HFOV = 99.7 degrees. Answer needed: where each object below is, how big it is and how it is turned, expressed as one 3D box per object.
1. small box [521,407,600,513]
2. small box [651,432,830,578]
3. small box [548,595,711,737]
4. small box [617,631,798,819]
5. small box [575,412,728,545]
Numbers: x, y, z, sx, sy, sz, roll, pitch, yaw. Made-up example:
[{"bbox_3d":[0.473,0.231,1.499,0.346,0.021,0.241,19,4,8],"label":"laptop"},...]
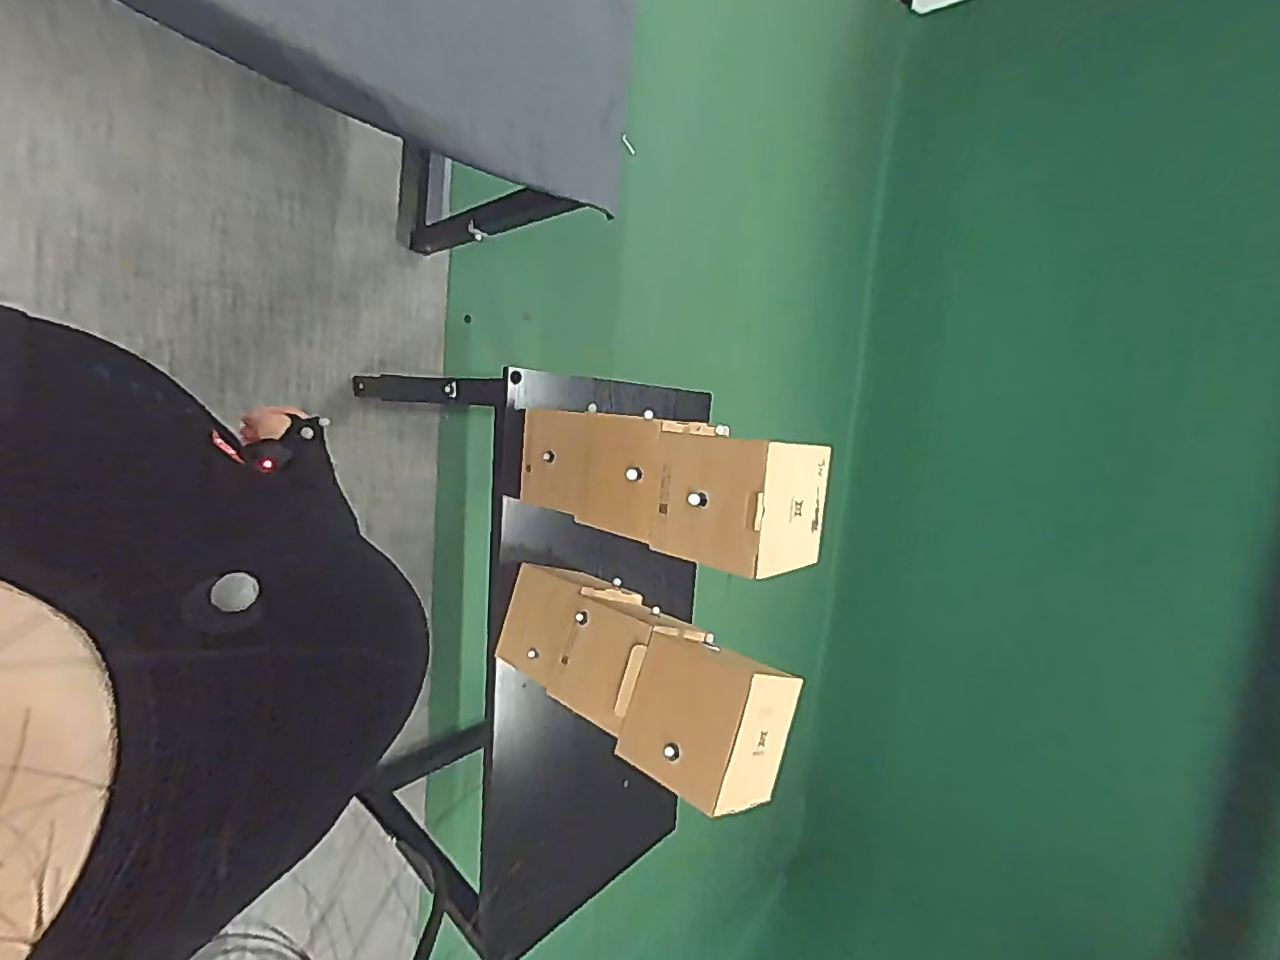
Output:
[{"bbox_3d":[-0.093,-0.039,0.962,0.179,0.176,0.168,-2,101,-48],"label":"small box"},{"bbox_3d":[0.133,0.025,0.734,0.179,0.176,0.168,0,98,-47],"label":"small box"},{"bbox_3d":[-0.018,0.294,0.871,0.179,0.176,0.168,25,80,-48],"label":"small box"},{"bbox_3d":[0.091,0.330,0.756,0.168,0.176,0.179,28,77,-48],"label":"small box"},{"bbox_3d":[0.014,-0.009,0.843,0.168,0.176,0.179,-2,100,-47],"label":"small box"}]
